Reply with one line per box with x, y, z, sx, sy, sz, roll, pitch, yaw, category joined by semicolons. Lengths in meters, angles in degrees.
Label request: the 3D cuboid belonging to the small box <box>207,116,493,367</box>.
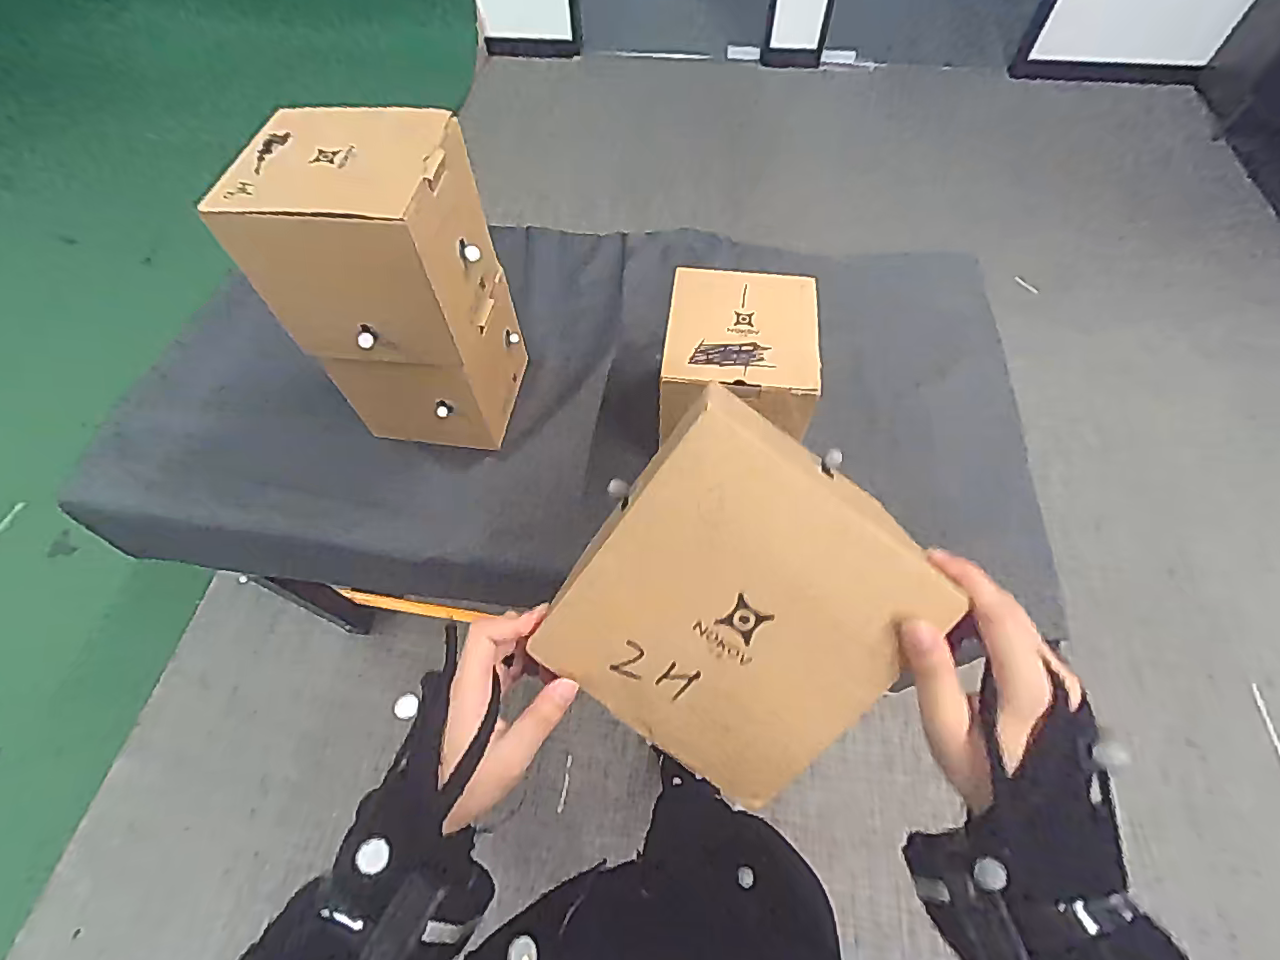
-0.262;-0.232;0.547;0.179;0.176;0.168;4;58;2;small box

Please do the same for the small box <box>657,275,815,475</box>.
0.112;-0.123;0.669;0.168;0.176;0.179;6;59;4;small box

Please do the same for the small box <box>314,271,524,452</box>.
-0.260;-0.151;0.690;0.179;0.176;0.168;6;58;5;small box
